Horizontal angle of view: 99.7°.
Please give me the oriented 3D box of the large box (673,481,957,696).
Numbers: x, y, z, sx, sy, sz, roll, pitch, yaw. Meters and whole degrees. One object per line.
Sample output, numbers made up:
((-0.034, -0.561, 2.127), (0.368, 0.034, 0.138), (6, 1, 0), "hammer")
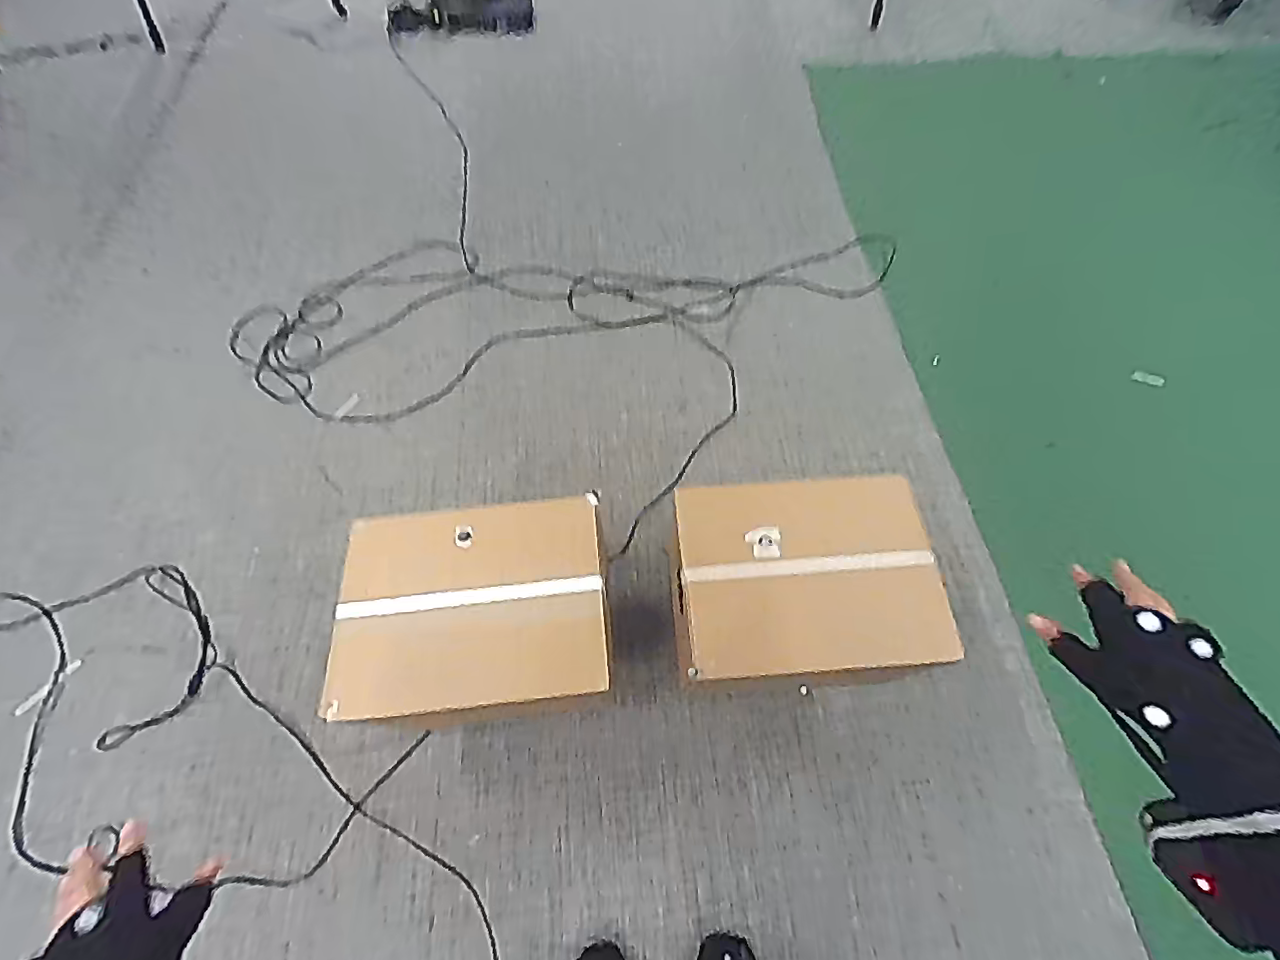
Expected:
((0.280, 0.218, 1.014), (0.408, 0.320, 0.320), (-4, 63, -1), "large box")
